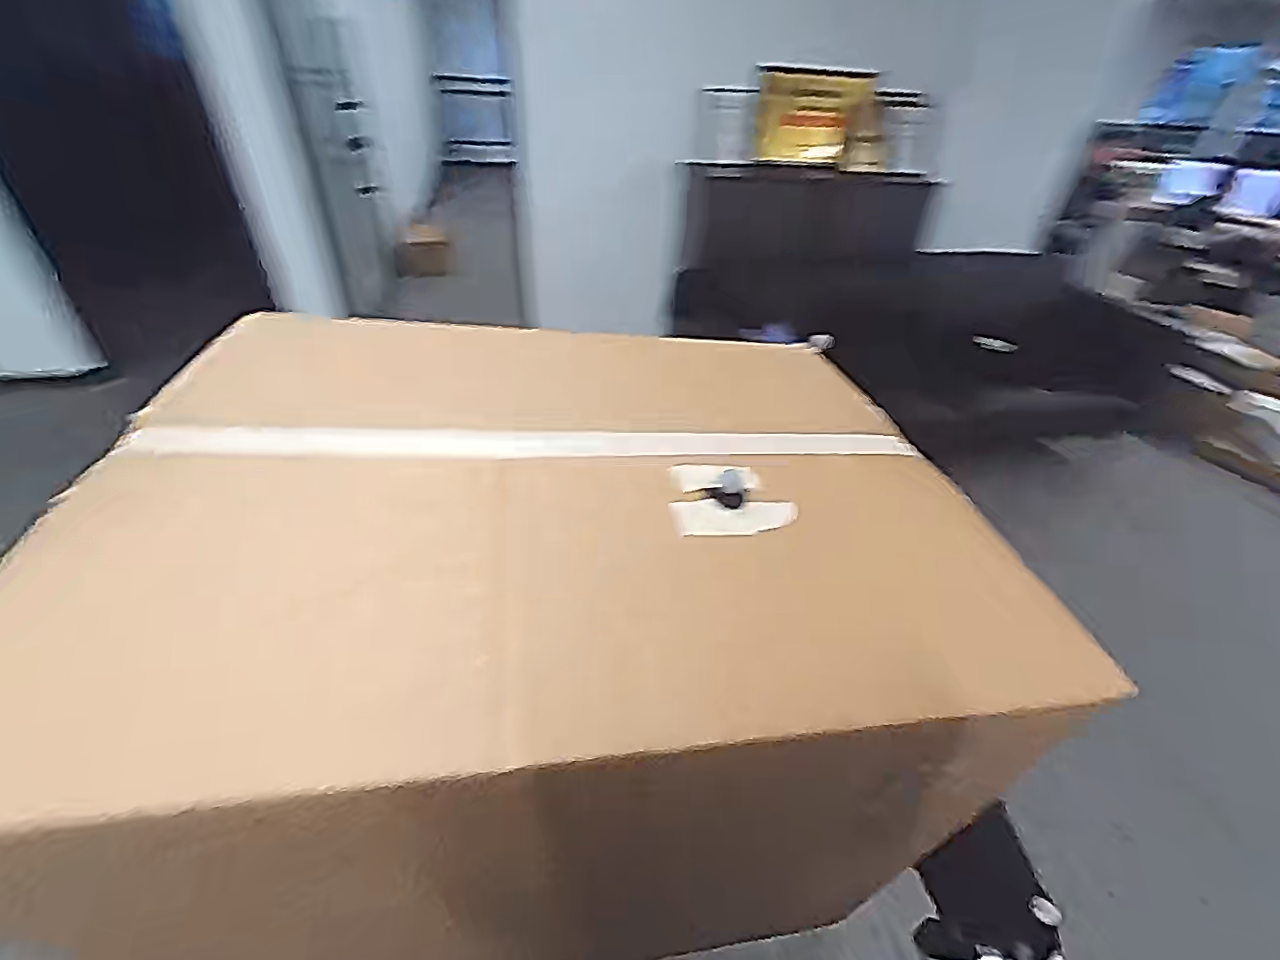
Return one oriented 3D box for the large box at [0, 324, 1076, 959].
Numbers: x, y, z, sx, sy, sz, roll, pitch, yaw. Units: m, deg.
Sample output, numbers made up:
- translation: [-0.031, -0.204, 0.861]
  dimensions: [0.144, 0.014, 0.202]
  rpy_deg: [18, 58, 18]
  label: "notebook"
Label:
- translation: [-0.053, 0.105, 0.387]
  dimensions: [0.408, 0.320, 0.320]
  rpy_deg: [0, 39, -13]
  label: "large box"
